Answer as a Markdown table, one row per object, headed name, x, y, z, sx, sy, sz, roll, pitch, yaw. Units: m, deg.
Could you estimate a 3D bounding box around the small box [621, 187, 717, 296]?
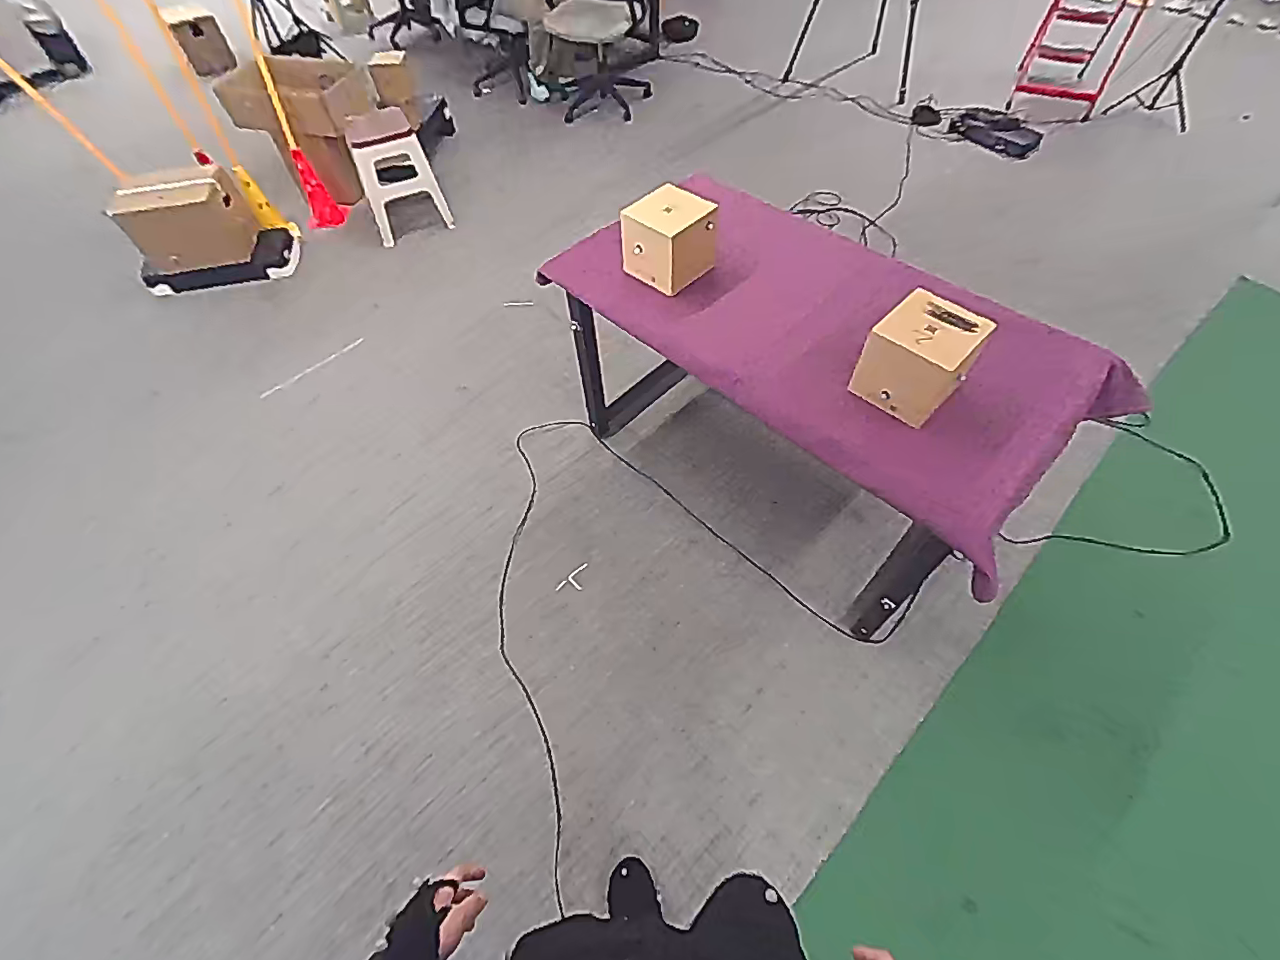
| name | x | y | z | sx | sy | sz | roll | pitch | yaw |
| --- | --- | --- | --- | --- | --- | --- | --- | --- | --- |
| small box | 0.073 | -0.594 | 1.358 | 0.168 | 0.176 | 0.179 | 37 | 63 | 24 |
